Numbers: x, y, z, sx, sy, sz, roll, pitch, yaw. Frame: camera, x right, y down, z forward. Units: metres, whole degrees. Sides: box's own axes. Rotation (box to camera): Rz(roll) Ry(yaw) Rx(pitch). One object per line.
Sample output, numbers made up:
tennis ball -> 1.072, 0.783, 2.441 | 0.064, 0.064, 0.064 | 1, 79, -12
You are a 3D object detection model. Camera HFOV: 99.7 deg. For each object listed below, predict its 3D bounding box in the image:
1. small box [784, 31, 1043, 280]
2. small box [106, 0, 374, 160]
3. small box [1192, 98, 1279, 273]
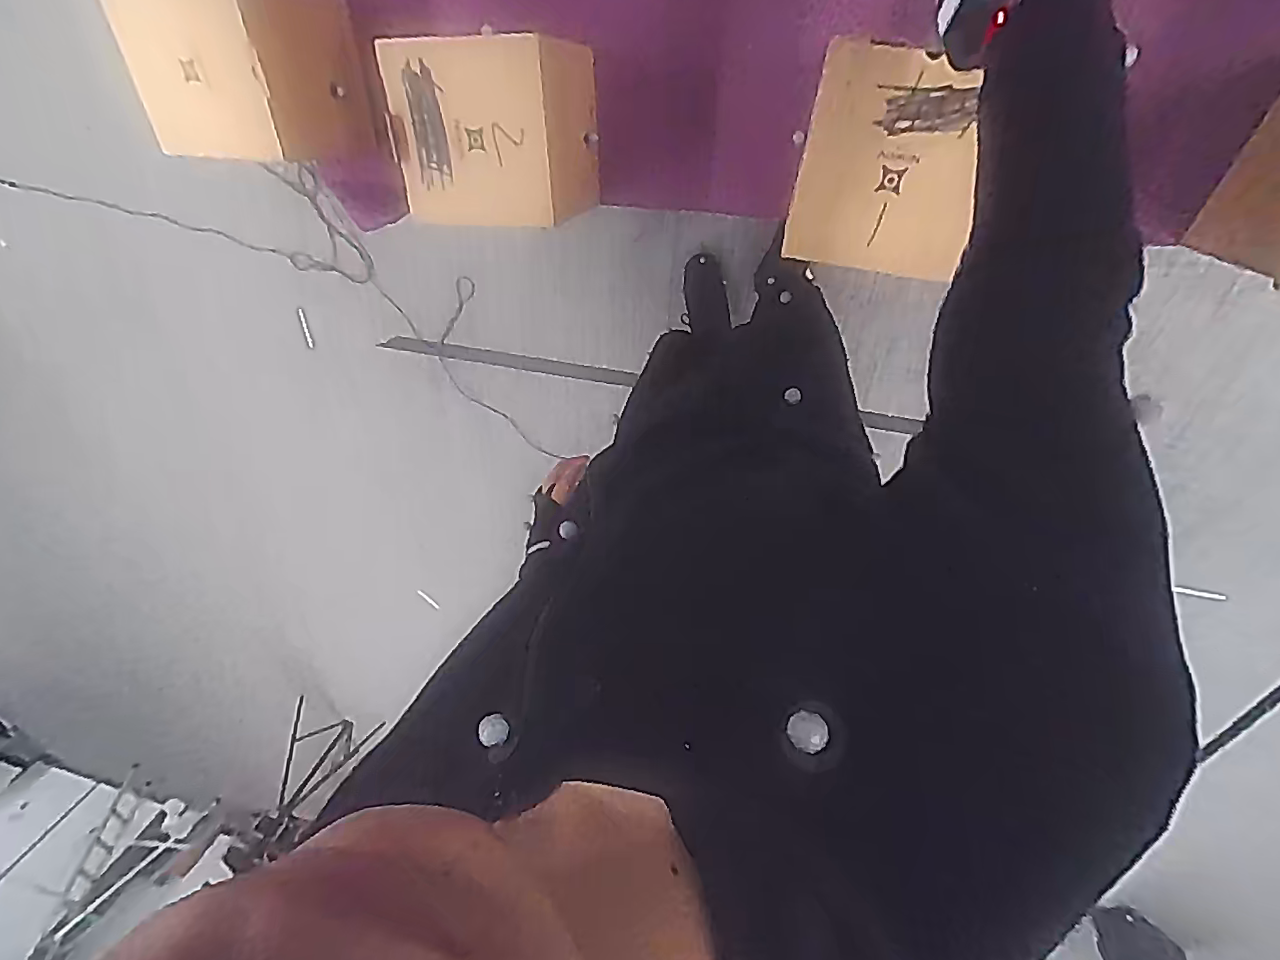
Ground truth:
small box -> 0.249, -0.325, 0.546 | 0.168, 0.176, 0.179 | 13, 127, 9
small box -> -0.462, -0.489, 0.650 | 0.179, 0.176, 0.168 | 9, 126, 10
small box -> 0.652, -0.263, 0.461 | 0.168, 0.176, 0.179 | 16, 127, 7
